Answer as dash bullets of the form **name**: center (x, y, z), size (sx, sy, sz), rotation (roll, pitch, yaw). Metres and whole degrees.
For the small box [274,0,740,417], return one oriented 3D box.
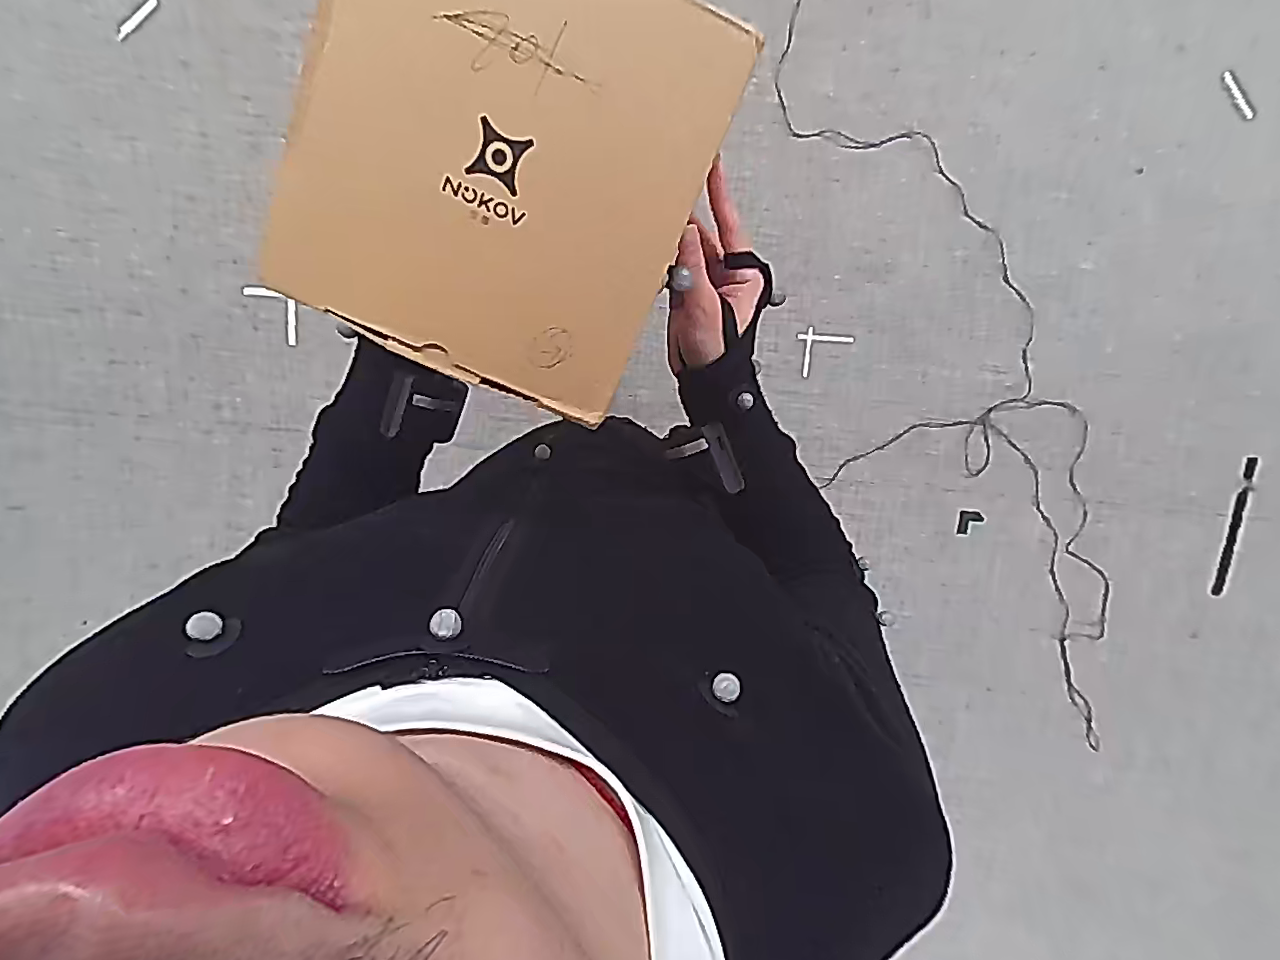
- **small box**: center (-0.064, -0.158, 0.316), size (0.168, 0.176, 0.179), rotation (22, 104, -7)
